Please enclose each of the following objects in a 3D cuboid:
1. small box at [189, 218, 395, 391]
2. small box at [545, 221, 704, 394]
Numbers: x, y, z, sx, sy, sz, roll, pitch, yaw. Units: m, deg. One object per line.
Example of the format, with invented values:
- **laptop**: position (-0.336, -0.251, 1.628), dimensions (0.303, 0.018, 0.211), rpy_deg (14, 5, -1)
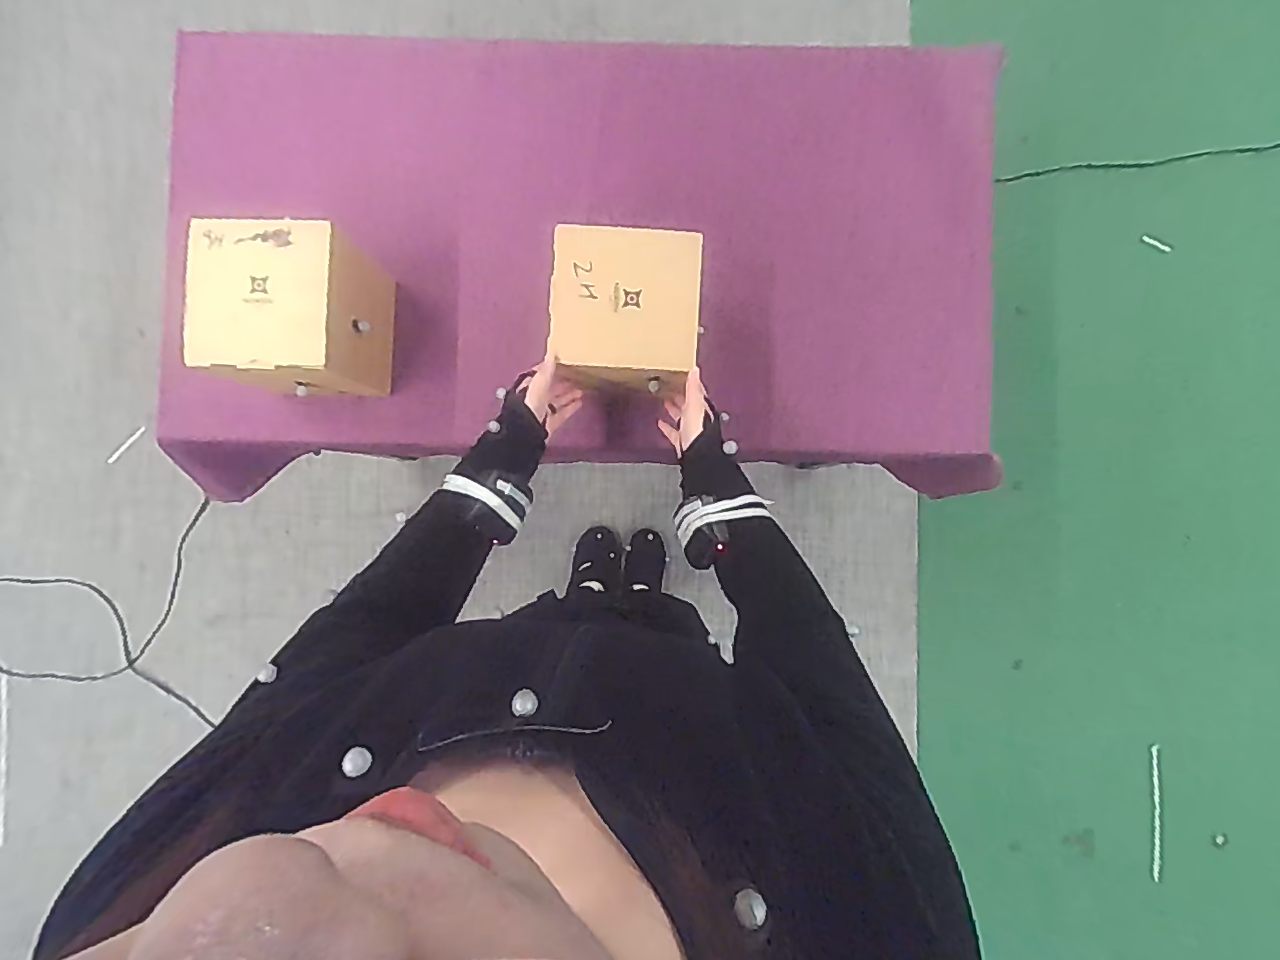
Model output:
- **small box**: position (-0.440, -0.216, 0.709), dimensions (0.168, 0.176, 0.179), rpy_deg (1, 88, 0)
- **small box**: position (-0.017, -0.211, 0.707), dimensions (0.179, 0.176, 0.168), rpy_deg (4, 88, 1)
